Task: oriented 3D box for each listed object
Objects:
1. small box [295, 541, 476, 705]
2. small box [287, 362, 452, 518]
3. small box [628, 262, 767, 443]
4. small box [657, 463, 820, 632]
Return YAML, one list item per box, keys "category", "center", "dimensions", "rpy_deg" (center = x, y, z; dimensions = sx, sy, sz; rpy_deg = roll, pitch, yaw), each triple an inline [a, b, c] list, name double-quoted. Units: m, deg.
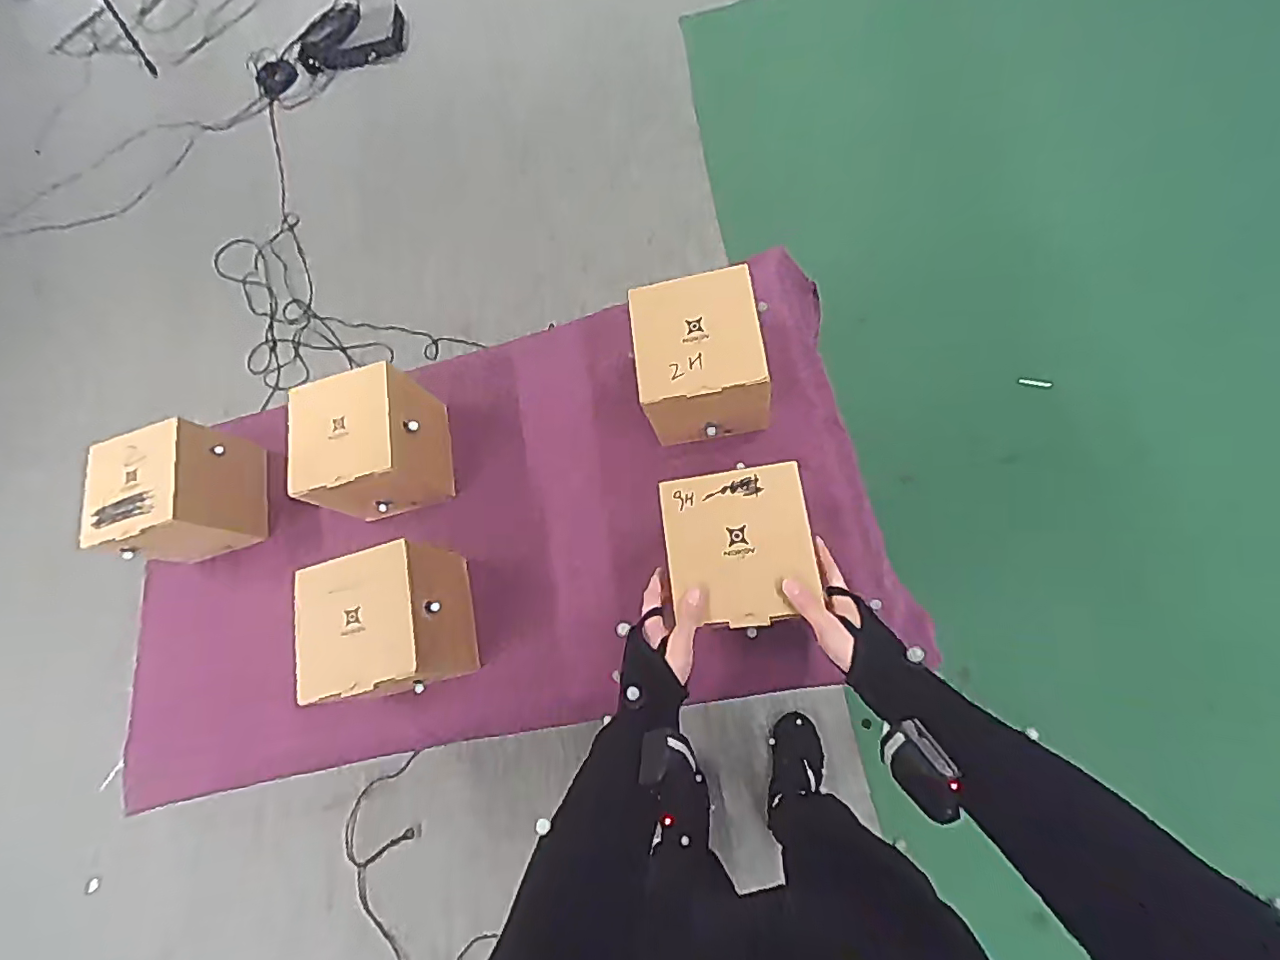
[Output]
- category: "small box"
  center: [-0.348, 0.201, 0.761]
  dimensions: [0.168, 0.176, 0.179]
  rpy_deg: [-16, 70, 7]
- category: "small box"
  center: [-0.416, -0.054, 0.851]
  dimensions: [0.168, 0.176, 0.179]
  rpy_deg: [-14, 73, 8]
- category: "small box"
  center: [0.085, -0.171, 0.770]
  dimensions: [0.168, 0.176, 0.179]
  rpy_deg: [-9, 73, 11]
- category: "small box"
  center: [0.124, 0.093, 0.684]
  dimensions: [0.168, 0.176, 0.179]
  rpy_deg: [-9, 74, 10]
